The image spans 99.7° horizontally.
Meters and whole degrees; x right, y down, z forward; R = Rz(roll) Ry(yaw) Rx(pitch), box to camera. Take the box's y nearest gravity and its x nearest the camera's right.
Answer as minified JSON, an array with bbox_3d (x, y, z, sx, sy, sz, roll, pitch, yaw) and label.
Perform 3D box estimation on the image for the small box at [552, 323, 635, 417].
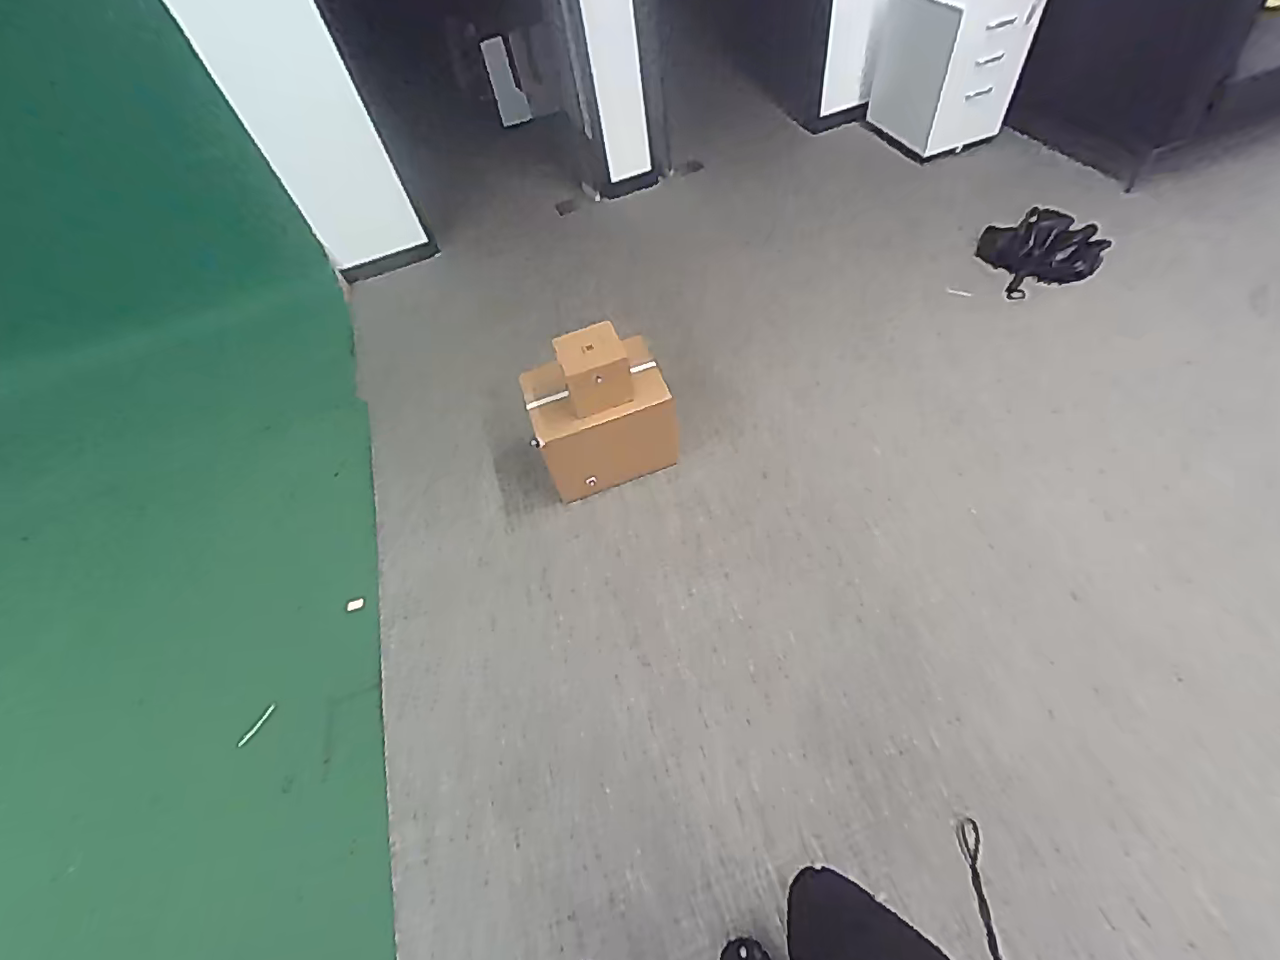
[{"bbox_3d":[-0.126,-0.305,1.522,0.179,0.176,0.168,-21,56,-6],"label":"small box"}]
